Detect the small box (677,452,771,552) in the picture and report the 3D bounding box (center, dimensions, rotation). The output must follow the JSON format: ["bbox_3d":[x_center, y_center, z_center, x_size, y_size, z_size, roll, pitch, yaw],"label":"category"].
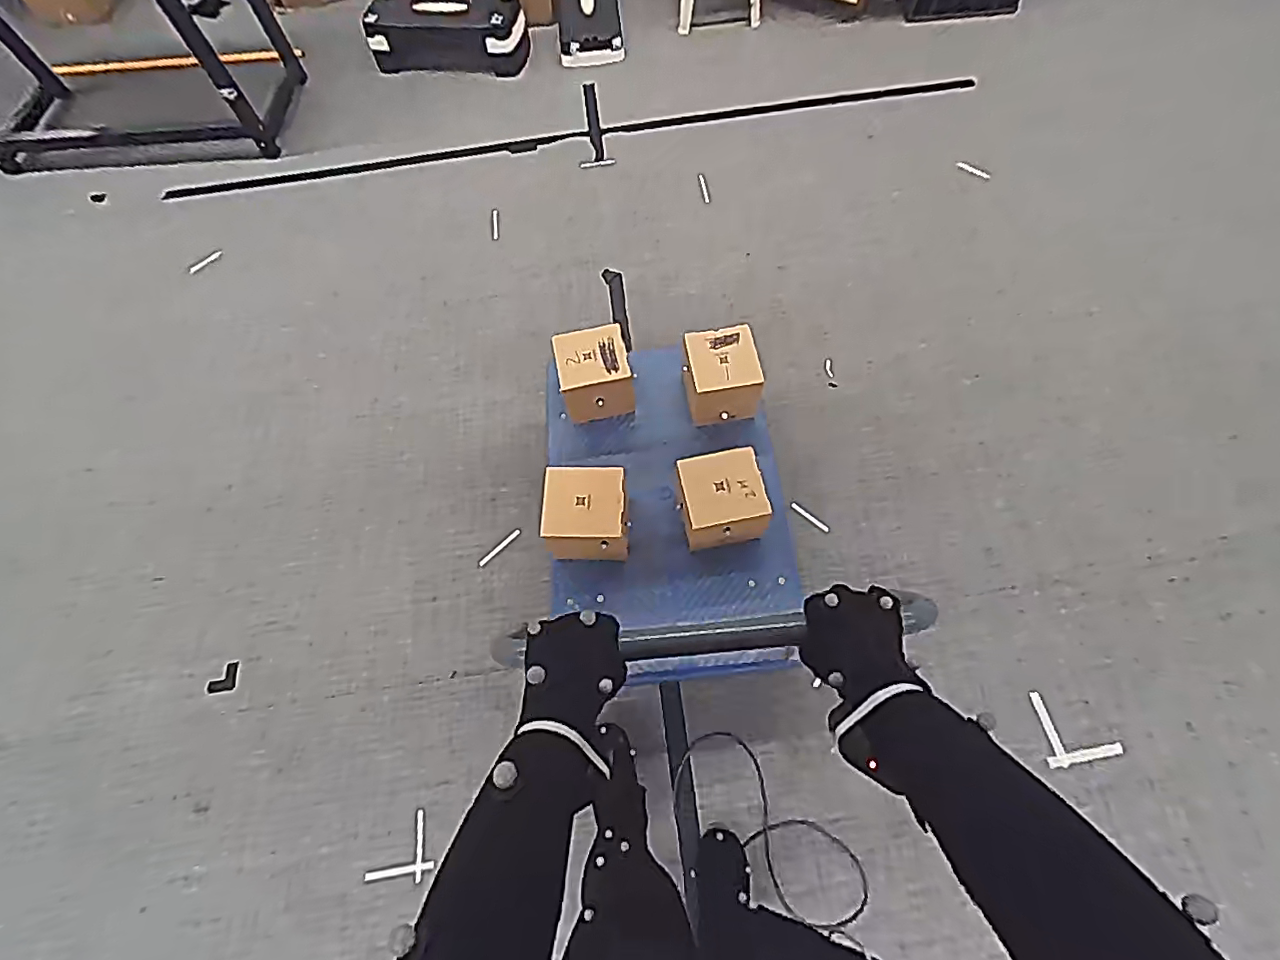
[{"bbox_3d":[0.186,0.057,1.247,0.179,0.176,0.168,-11,66,-2],"label":"small box"}]

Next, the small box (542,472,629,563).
[{"bbox_3d":[-0.118,0.090,1.247,0.179,0.176,0.168,0,65,1],"label":"small box"}]

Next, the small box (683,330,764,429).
[{"bbox_3d":[0.206,-0.253,1.382,0.168,0.176,0.179,-9,67,-1],"label":"small box"}]
